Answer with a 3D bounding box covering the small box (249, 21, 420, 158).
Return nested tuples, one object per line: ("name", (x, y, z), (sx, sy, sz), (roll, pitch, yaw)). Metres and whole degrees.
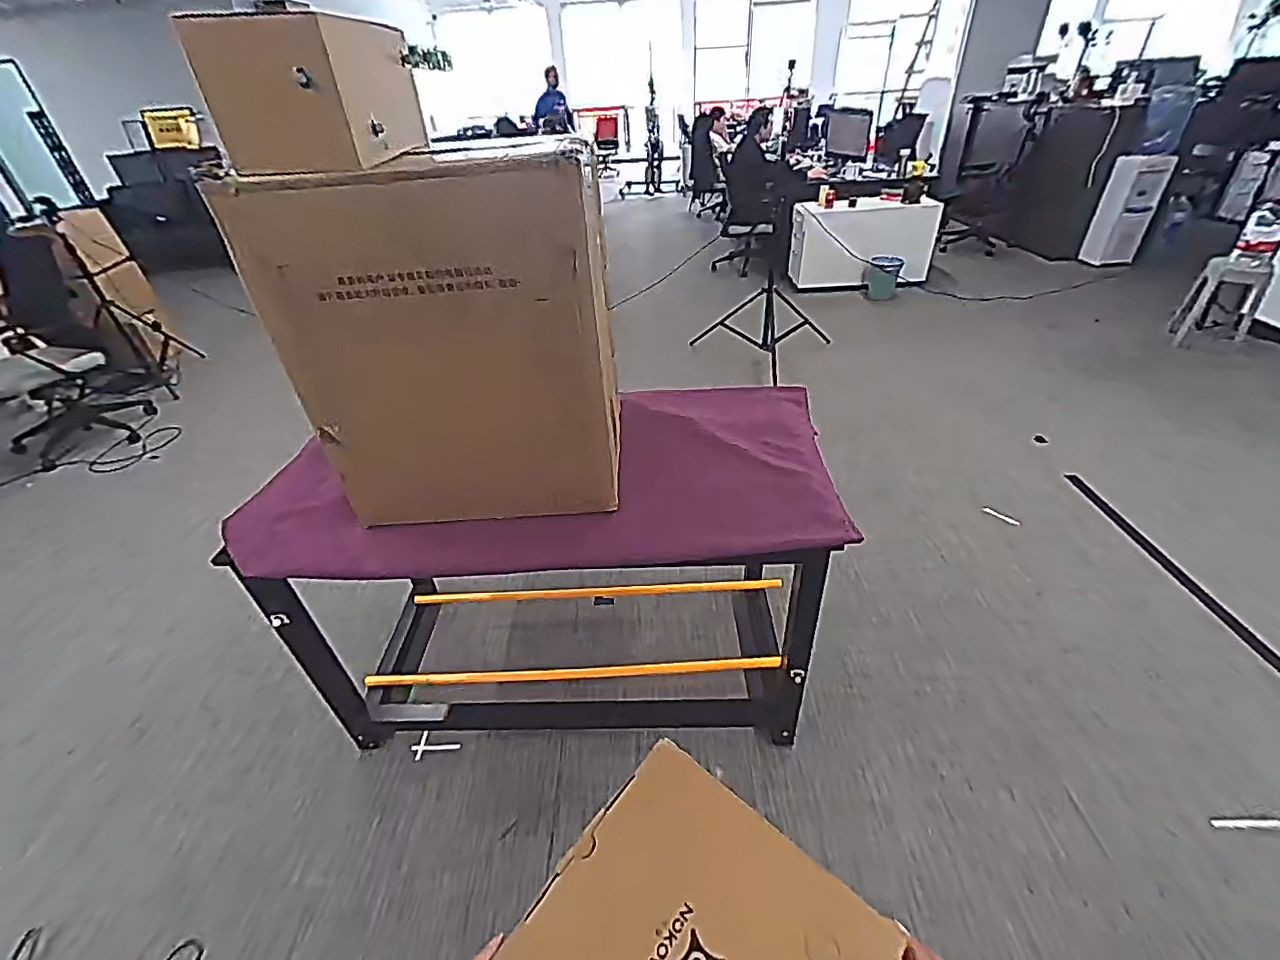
("small box", (-0.483, -0.635, 0.892), (0.168, 0.176, 0.179), (-3, 36, 1))
